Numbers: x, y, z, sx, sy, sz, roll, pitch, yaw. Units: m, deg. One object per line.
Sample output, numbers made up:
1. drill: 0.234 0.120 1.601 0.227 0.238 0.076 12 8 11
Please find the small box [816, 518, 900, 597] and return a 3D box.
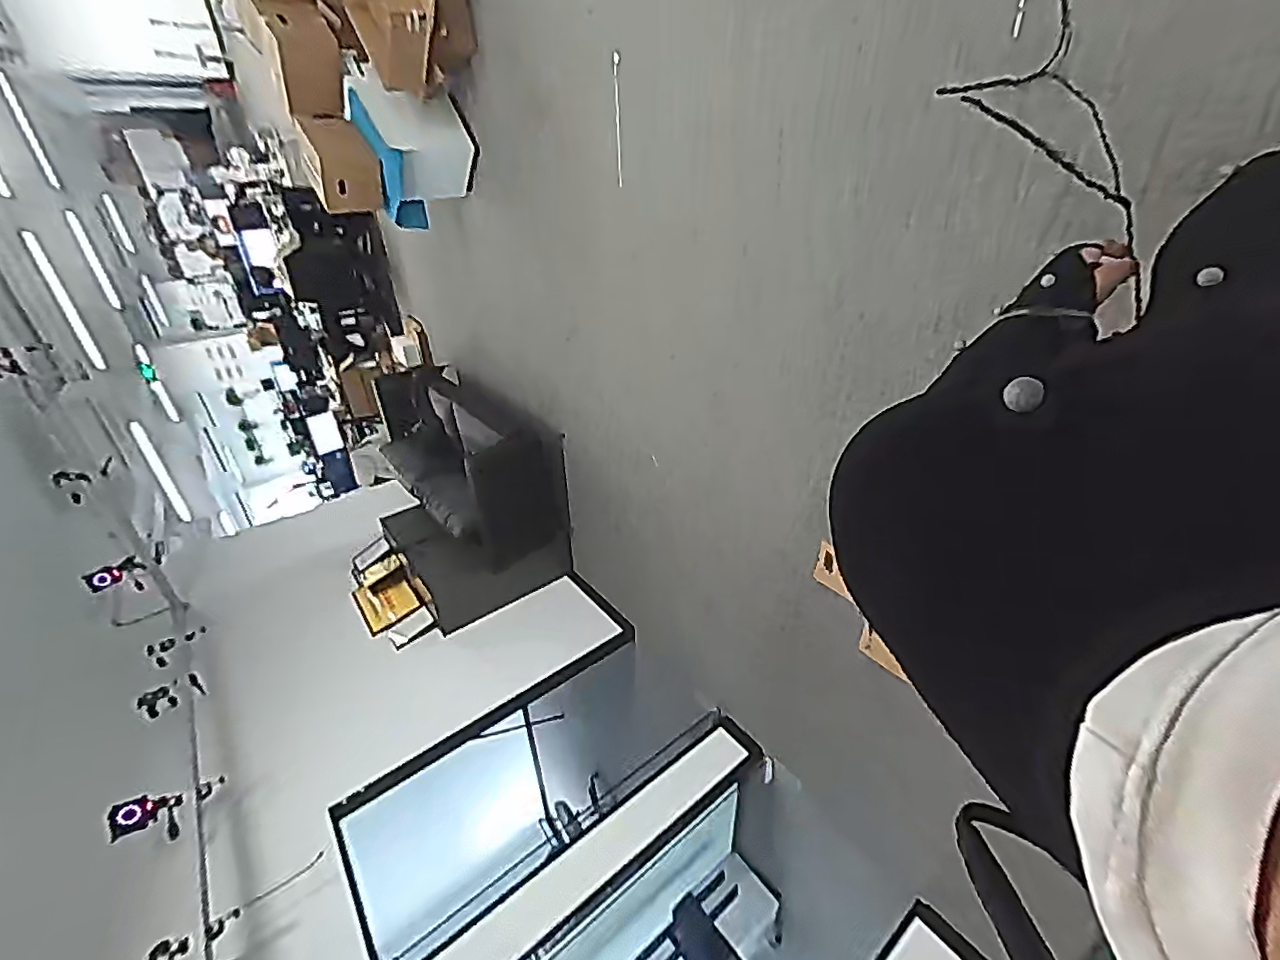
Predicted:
1. small box: 0.712 0.245 1.771 0.179 0.176 0.168 35 138 40
